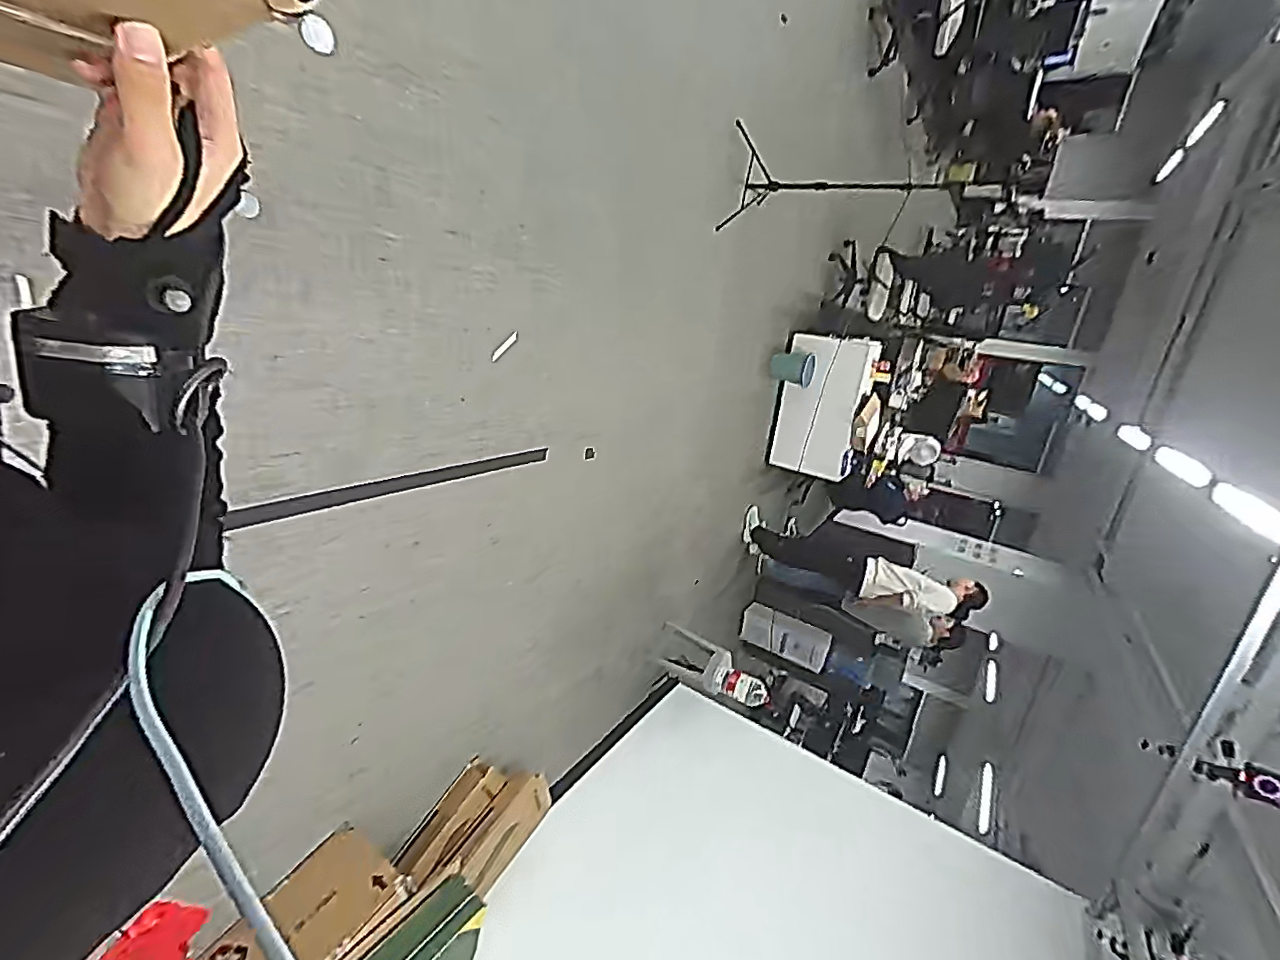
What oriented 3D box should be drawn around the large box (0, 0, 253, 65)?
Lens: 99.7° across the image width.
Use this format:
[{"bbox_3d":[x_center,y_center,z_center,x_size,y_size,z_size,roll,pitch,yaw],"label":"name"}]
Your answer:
[{"bbox_3d":[-0.329,-0.330,0.065,0.408,0.320,0.320,-17,122,-52],"label":"large box"}]
